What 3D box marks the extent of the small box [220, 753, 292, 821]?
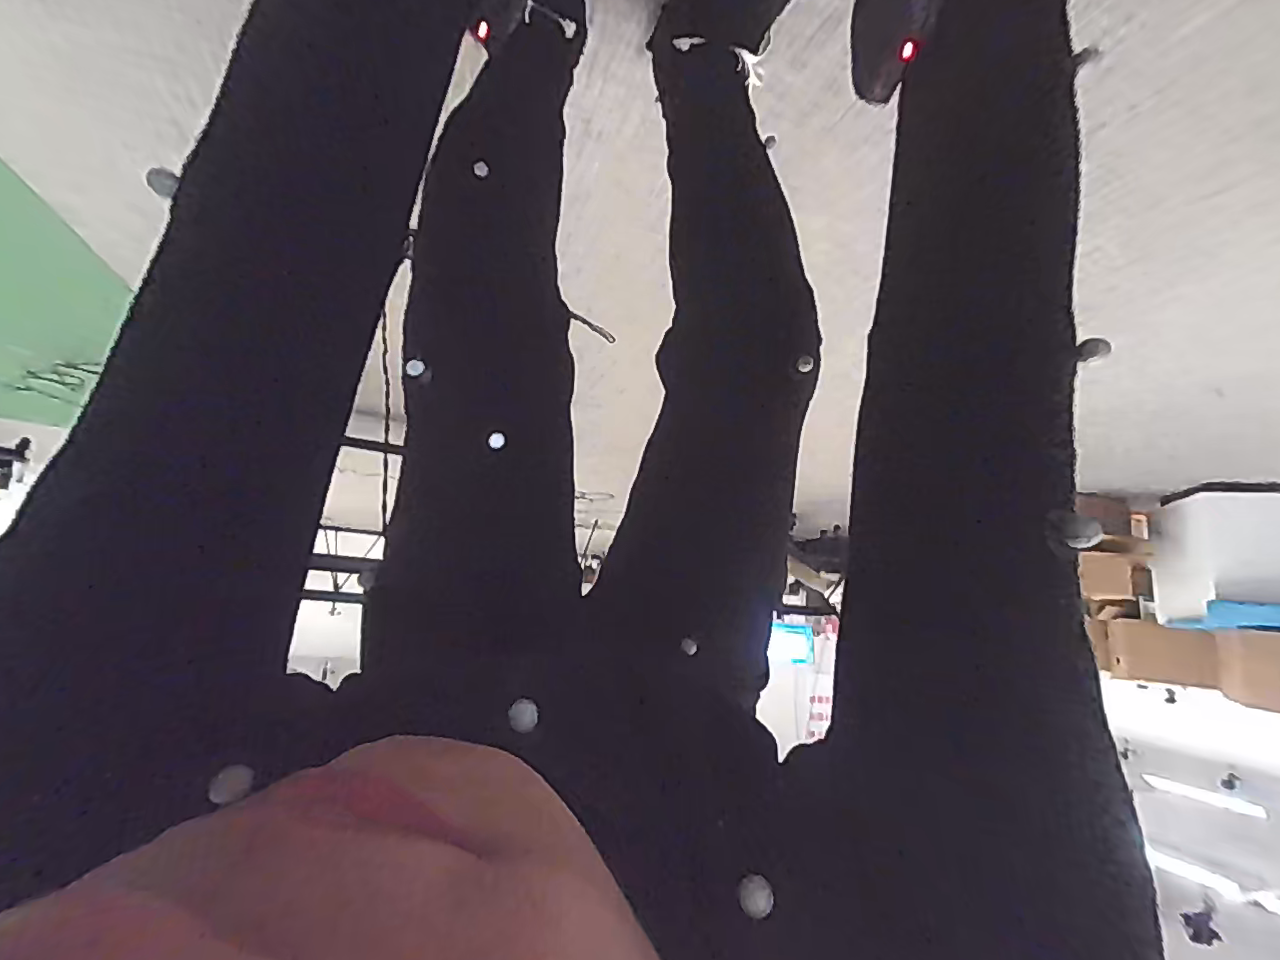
[{"bbox_3d":[-1.391,1.111,1.972,0.179,0.176,0.168,10,169,-22],"label":"small box"}]
